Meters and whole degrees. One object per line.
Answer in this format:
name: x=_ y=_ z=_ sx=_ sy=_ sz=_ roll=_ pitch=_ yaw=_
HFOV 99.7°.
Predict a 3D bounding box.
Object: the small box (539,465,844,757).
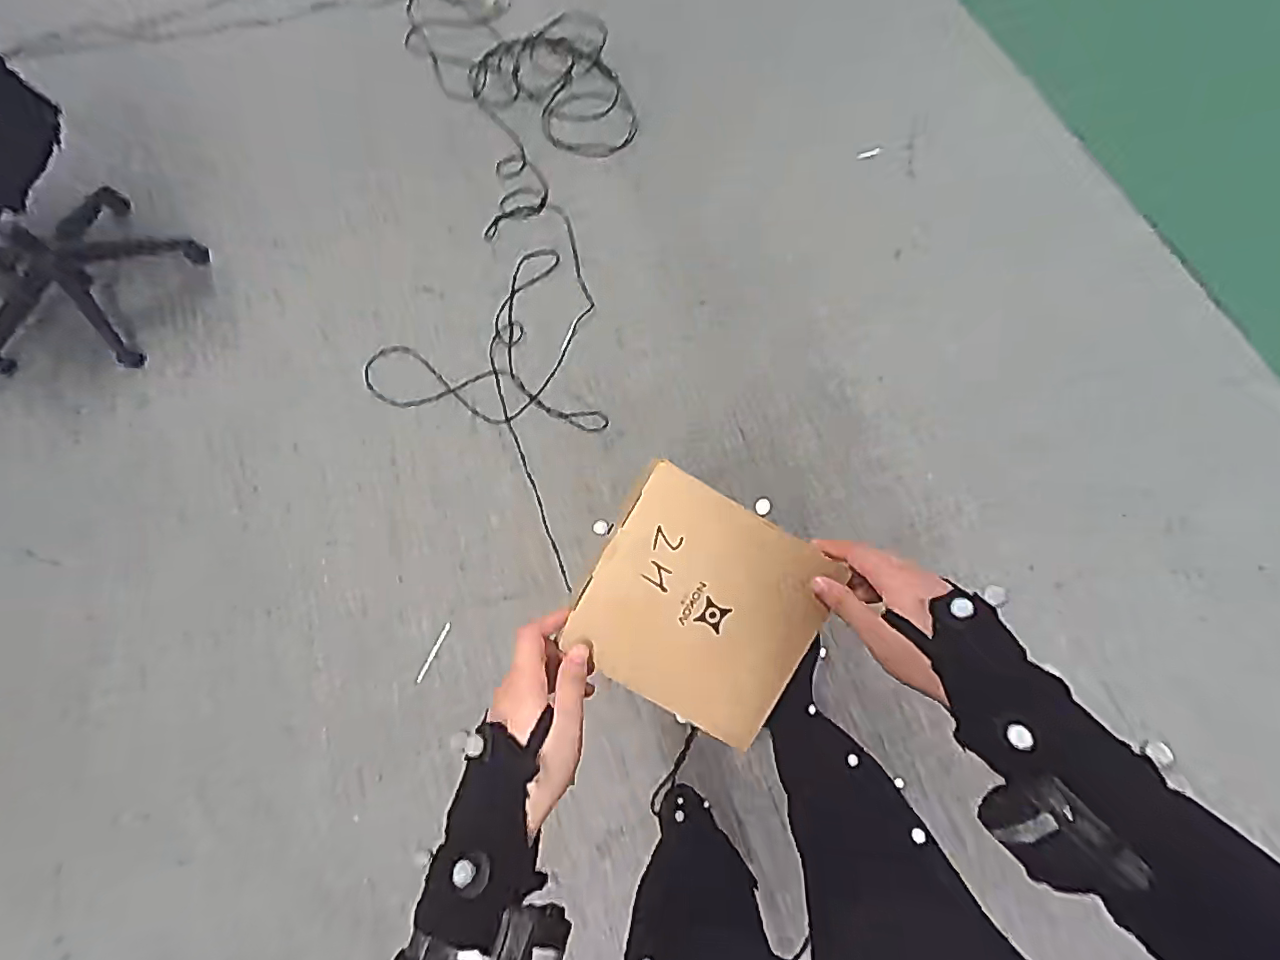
small box: x=0.038 y=0.094 z=0.481 sx=0.179 sy=0.176 sz=0.168 roll=30 pitch=92 yaw=-2
